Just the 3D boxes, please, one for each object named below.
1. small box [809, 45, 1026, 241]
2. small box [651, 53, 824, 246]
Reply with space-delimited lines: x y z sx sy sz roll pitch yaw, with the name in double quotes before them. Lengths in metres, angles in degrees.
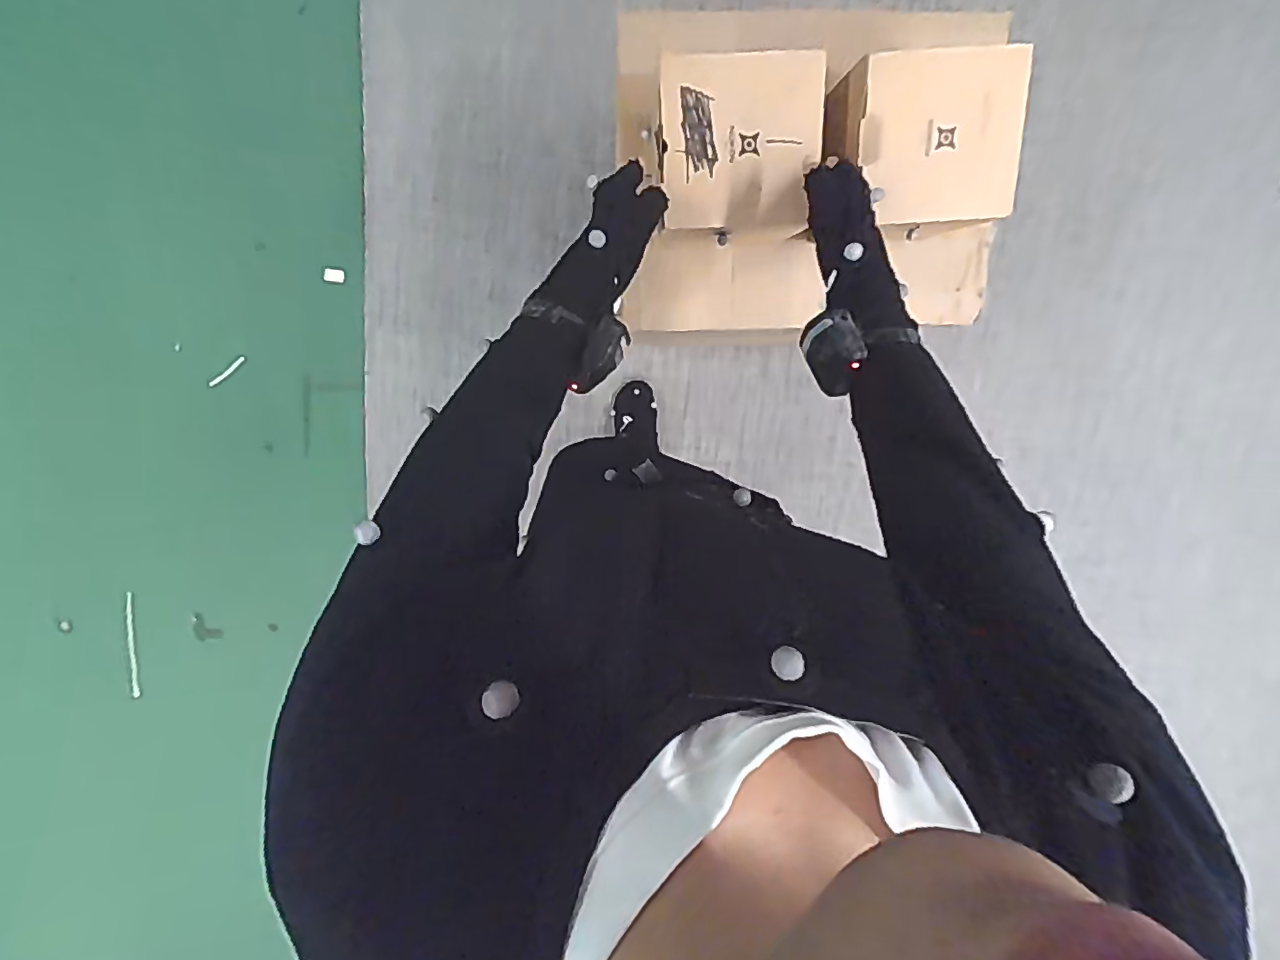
"small box" 0.318 -0.394 0.661 0.179 0.176 0.168 -5 108 -2
"small box" 0.103 -0.383 0.655 0.179 0.176 0.168 -2 108 -2
